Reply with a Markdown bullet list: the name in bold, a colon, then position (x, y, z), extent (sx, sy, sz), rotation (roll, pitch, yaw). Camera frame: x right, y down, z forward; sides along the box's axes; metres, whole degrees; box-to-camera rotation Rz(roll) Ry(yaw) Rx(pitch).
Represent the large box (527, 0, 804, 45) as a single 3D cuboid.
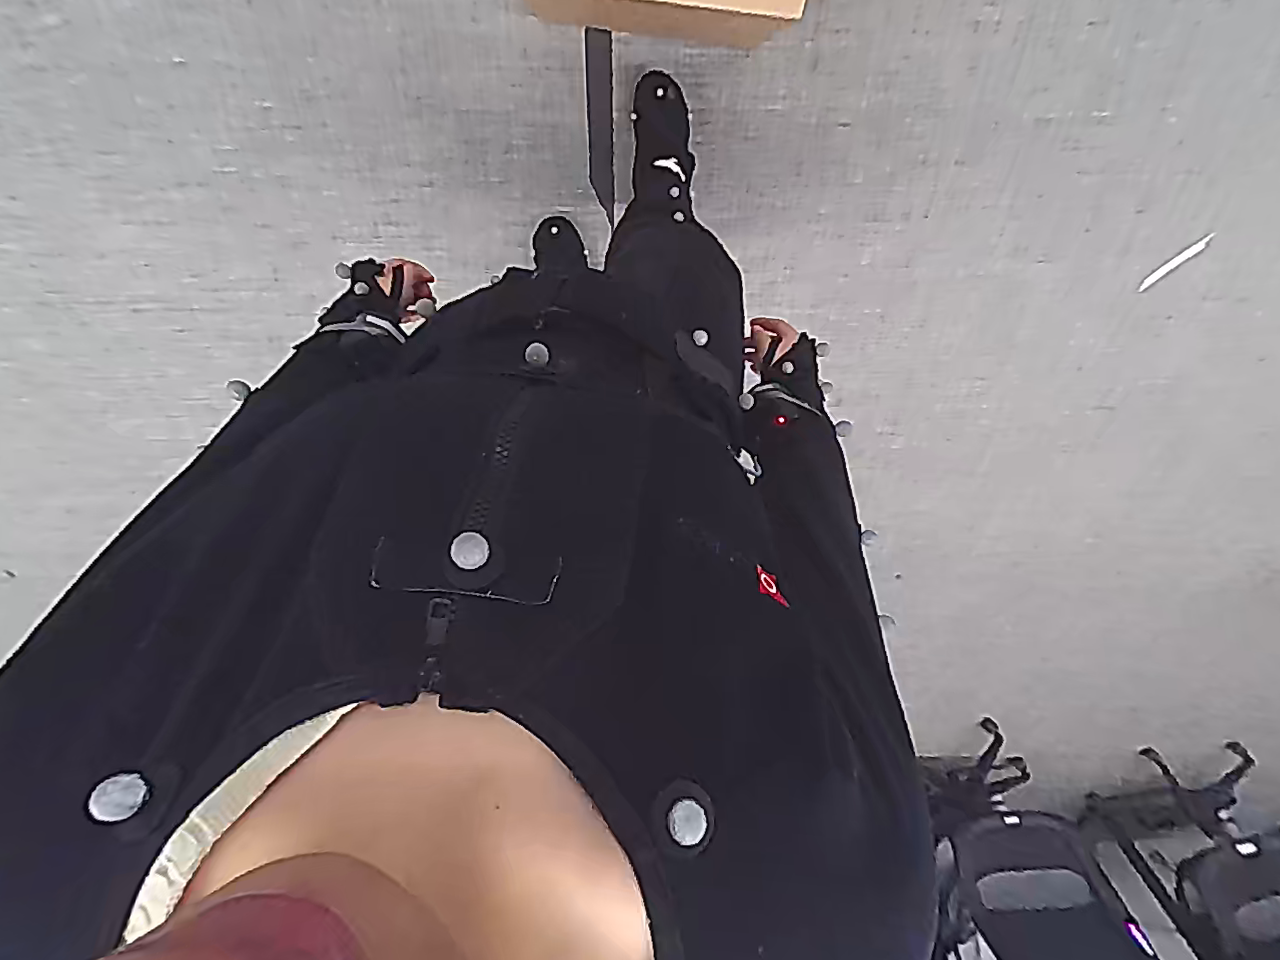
- **large box**: position (0.031, -0.865, 0.786), extent (0.408, 0.320, 0.320), rotation (3, 123, -5)
